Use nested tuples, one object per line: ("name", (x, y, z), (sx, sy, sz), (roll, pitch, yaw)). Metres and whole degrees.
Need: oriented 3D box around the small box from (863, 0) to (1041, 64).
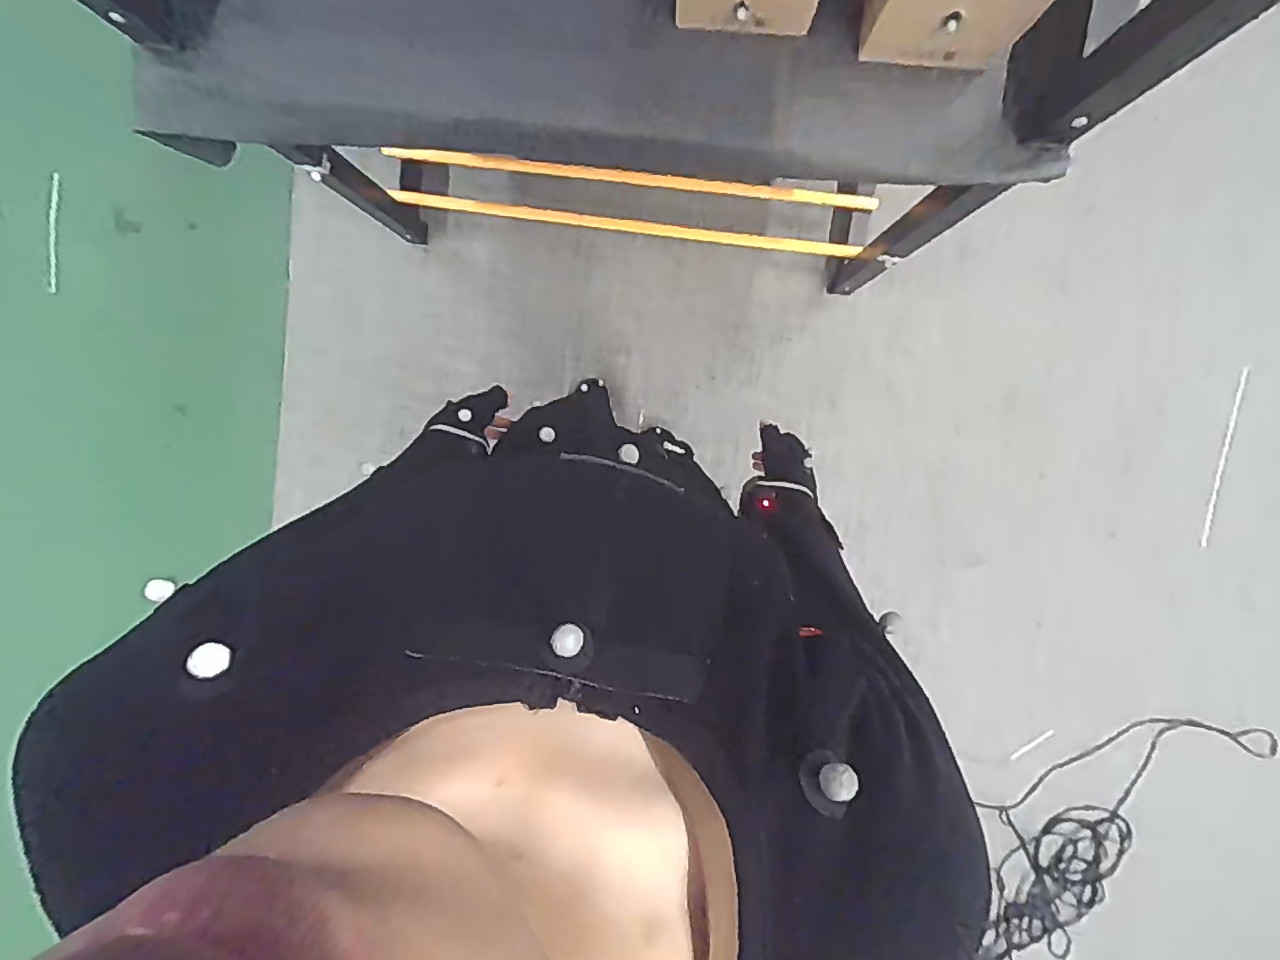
("small box", (0.358, -0.596, 0.585), (0.168, 0.176, 0.179), (6, 96, 1))
